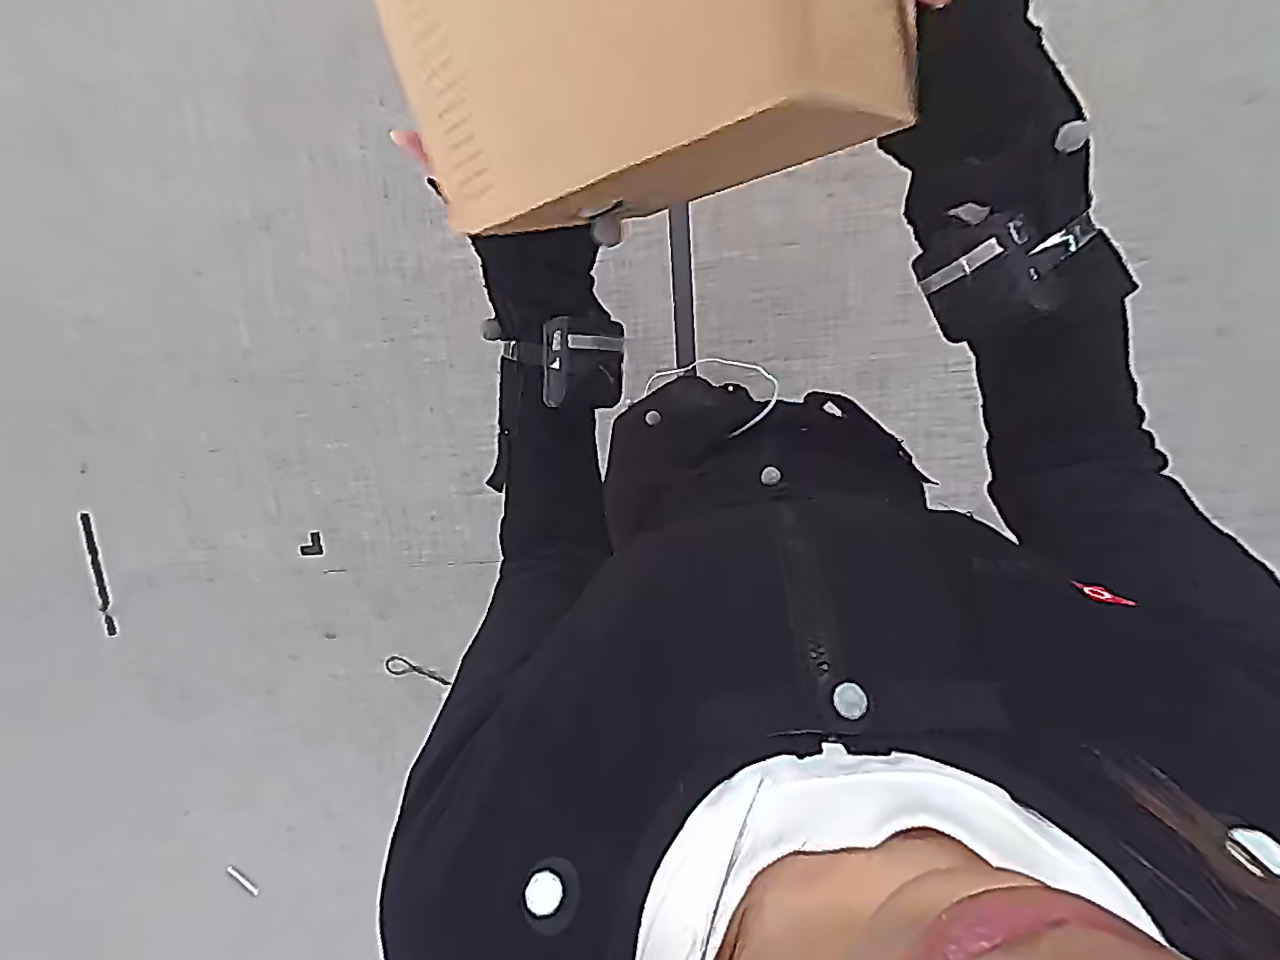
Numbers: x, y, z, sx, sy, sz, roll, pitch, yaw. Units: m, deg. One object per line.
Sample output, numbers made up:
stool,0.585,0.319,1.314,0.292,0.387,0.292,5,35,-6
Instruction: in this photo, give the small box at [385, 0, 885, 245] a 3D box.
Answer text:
small box,-0.007,-0.227,0.247,0.176,0.168,0.179,3,117,41
